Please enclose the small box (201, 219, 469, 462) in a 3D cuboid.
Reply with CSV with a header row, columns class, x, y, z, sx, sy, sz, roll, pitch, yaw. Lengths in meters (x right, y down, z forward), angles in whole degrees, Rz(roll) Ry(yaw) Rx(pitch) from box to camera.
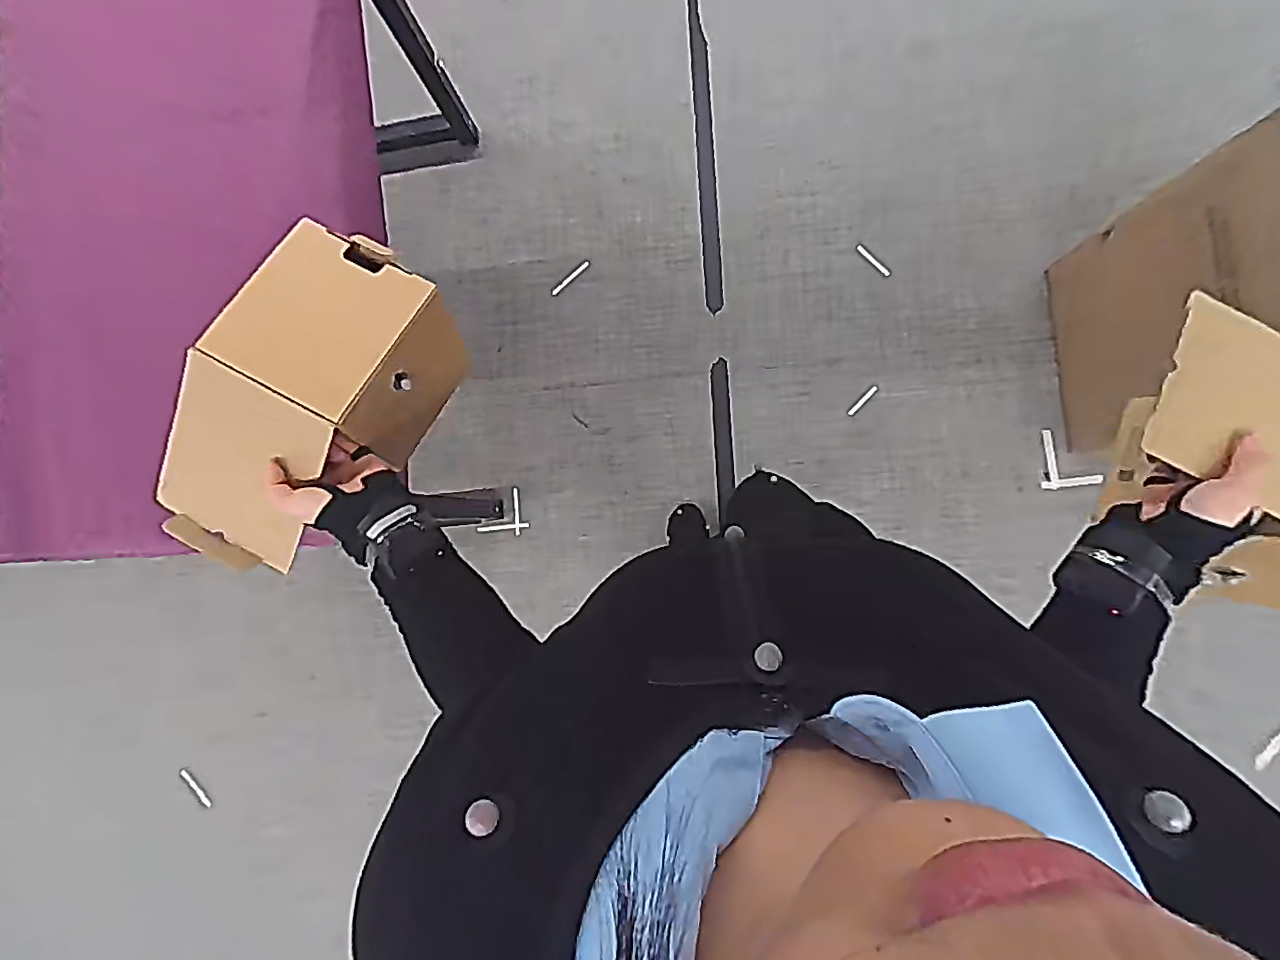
class,x,y,z,sx,sy,sz,roll,pitch,yaw
small box,-0.320,-0.144,0.615,0.168,0.176,0.179,28,75,4
